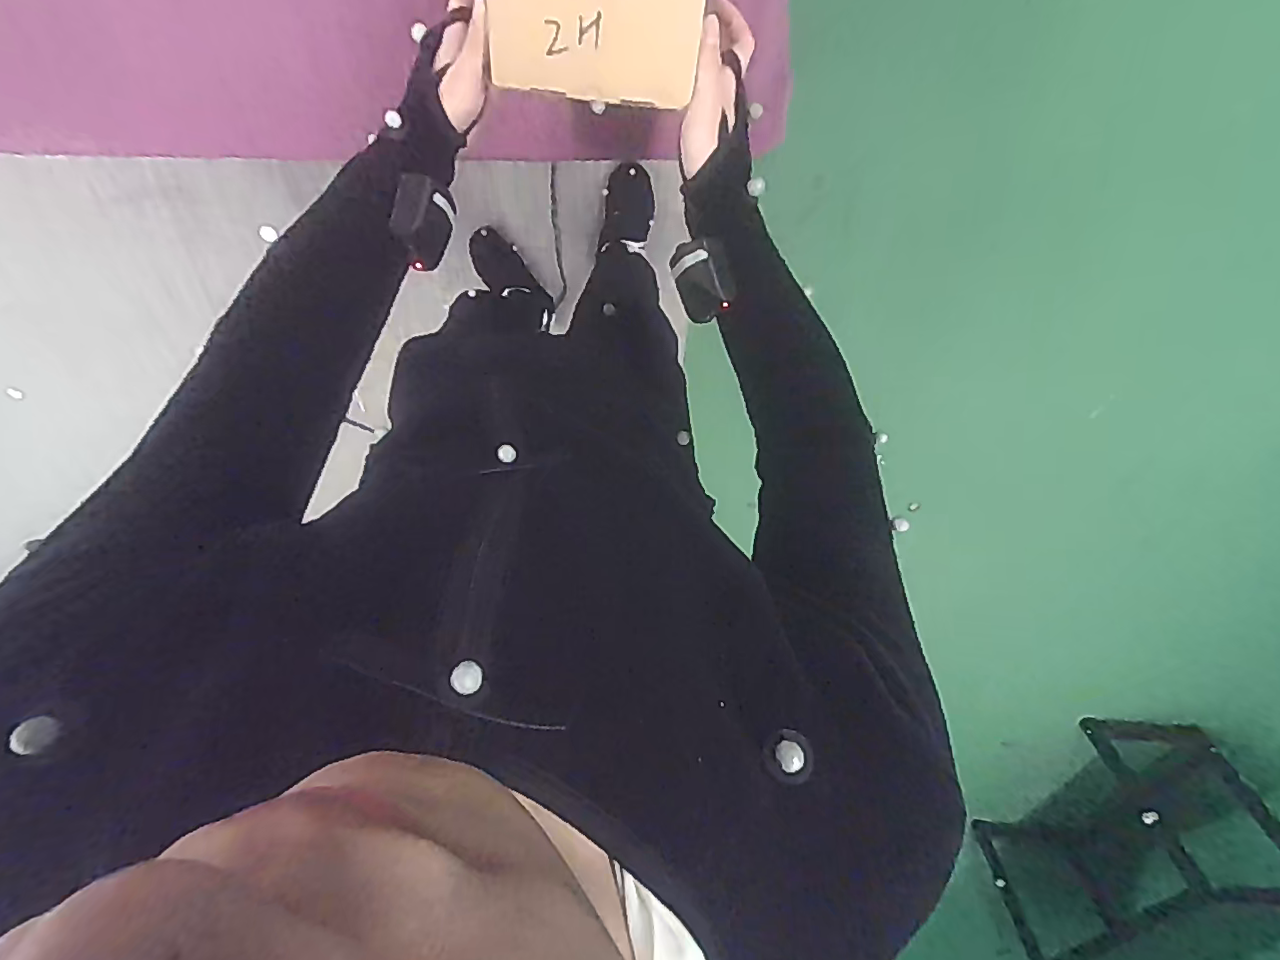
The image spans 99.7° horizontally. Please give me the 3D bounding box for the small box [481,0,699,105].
[{"bbox_3d":[-0.035,-0.432,0.451,0.168,0.176,0.179,5,128,-4],"label":"small box"}]
